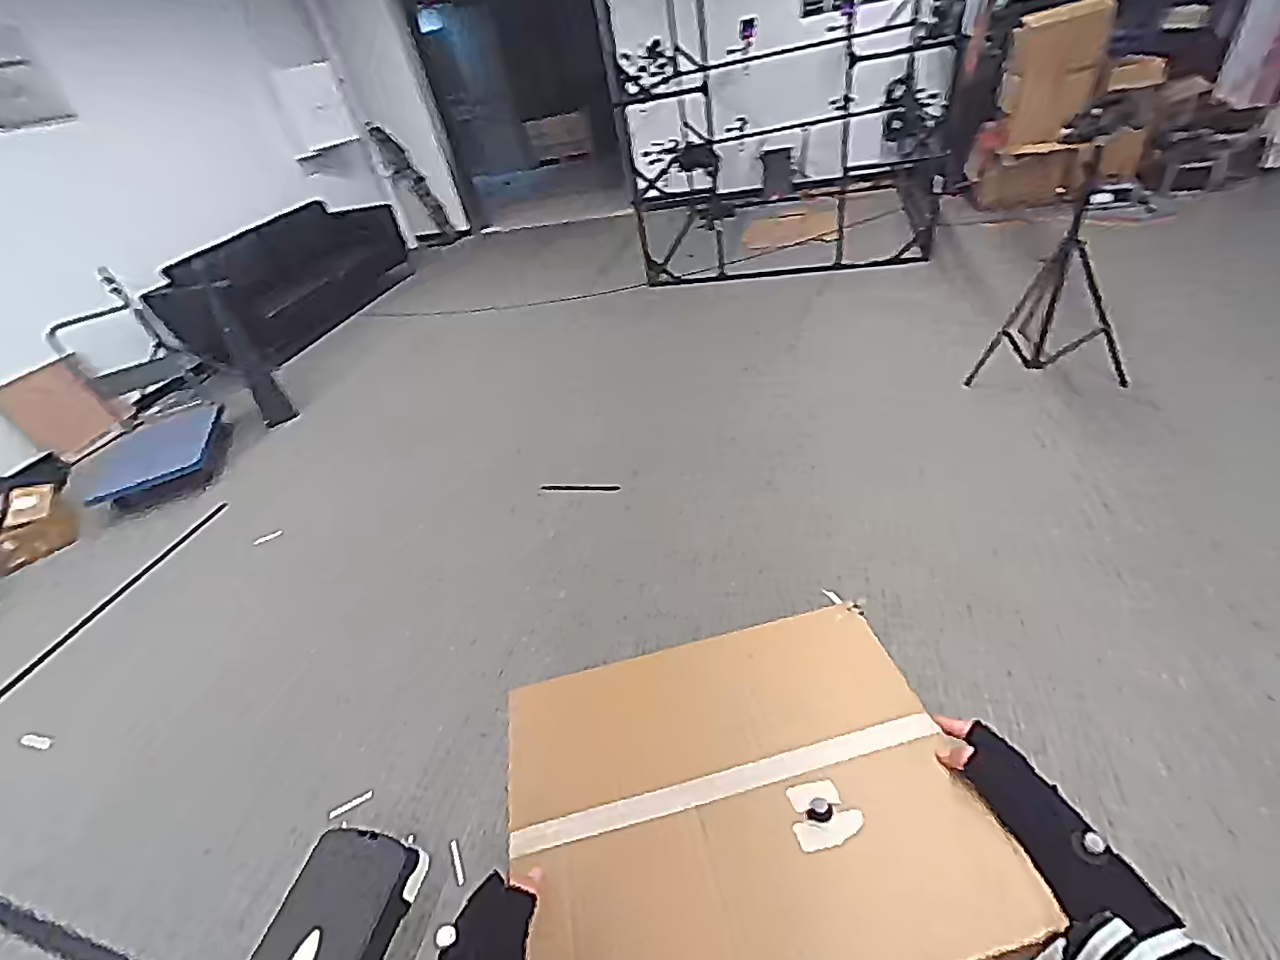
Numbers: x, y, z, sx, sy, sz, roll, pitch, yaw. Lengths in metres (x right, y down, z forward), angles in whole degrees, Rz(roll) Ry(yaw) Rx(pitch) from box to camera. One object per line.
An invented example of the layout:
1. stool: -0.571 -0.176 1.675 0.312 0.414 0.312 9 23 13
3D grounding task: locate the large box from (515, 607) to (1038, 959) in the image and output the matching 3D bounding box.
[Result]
1. large box: 0.102 0.403 0.595 0.408 0.320 0.320 -14 37 -5
